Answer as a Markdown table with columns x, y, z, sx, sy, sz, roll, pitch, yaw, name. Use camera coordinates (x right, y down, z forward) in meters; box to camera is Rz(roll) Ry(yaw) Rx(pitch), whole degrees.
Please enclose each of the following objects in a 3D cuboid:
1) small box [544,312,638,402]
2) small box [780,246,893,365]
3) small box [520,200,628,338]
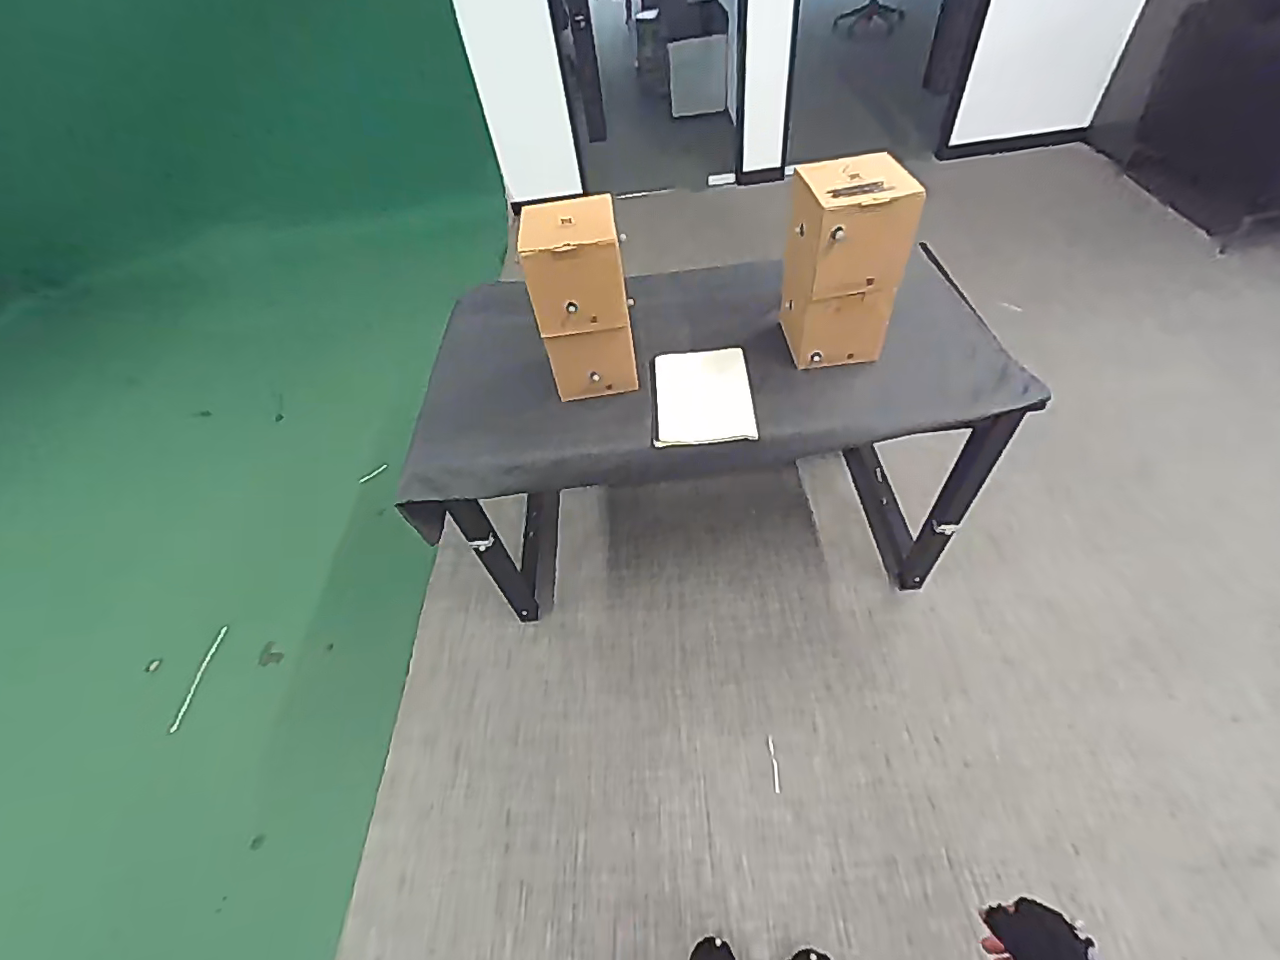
| x | y | z | sx | sy | sz | roll | pitch | yaw | name |
| --- | --- | --- | --- | --- | --- | --- | --- | --- | --- |
| -0.101 | -0.289 | 1.125 | 0.168 | 0.176 | 0.179 | -10 | 50 | 1 | small box |
| 0.391 | -0.350 | 1.108 | 0.168 | 0.176 | 0.179 | -6 | 49 | 3 | small box |
| -0.116 | -0.386 | 0.996 | 0.168 | 0.176 | 0.179 | -8 | 50 | 1 | small box |
